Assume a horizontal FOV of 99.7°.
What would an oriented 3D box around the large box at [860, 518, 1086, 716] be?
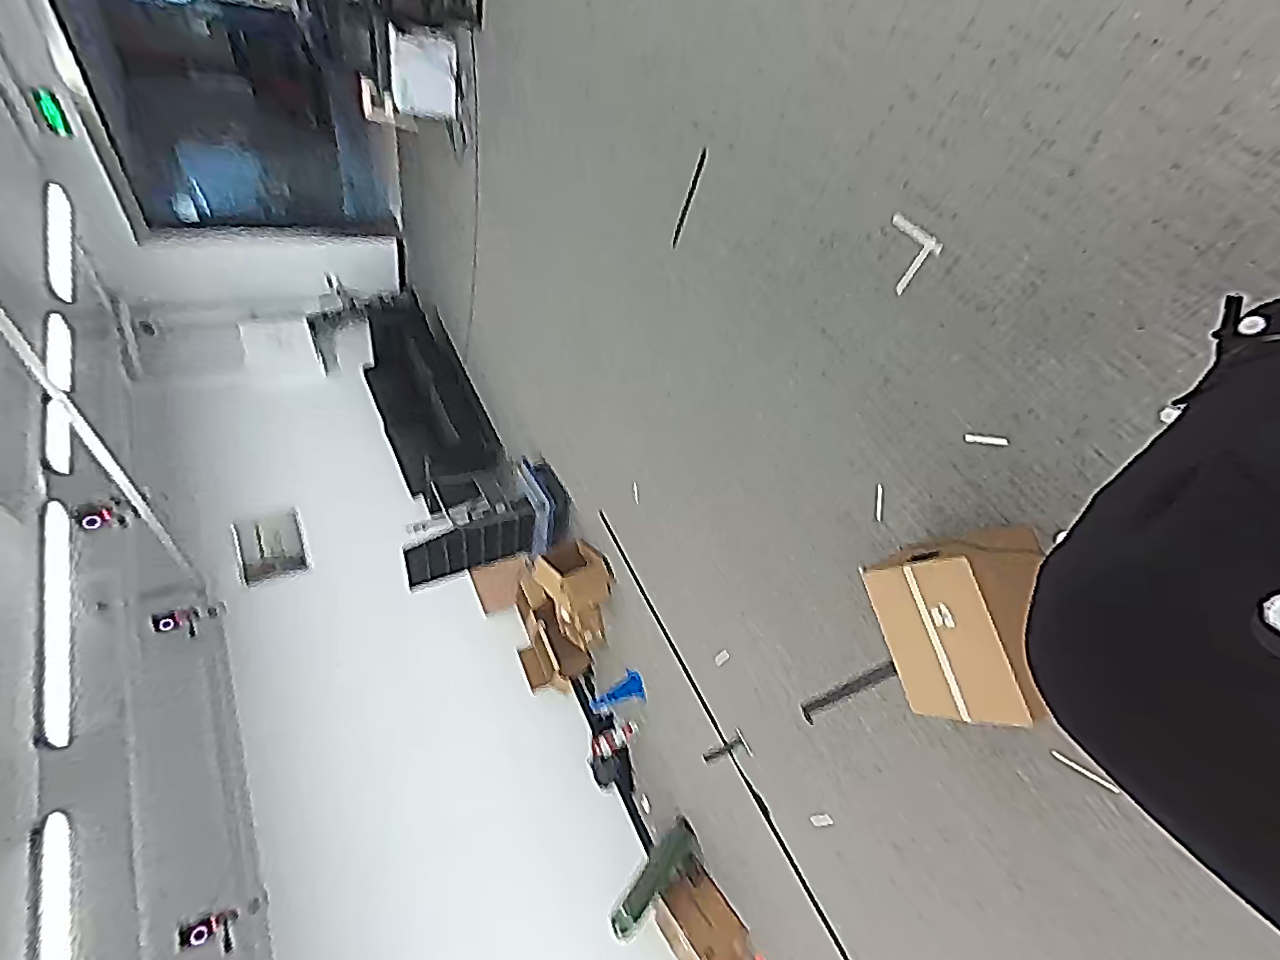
[{"bbox_3d":[0.868,0.351,1.429,0.320,0.320,0.408,-29,76,59],"label":"large box"}]
